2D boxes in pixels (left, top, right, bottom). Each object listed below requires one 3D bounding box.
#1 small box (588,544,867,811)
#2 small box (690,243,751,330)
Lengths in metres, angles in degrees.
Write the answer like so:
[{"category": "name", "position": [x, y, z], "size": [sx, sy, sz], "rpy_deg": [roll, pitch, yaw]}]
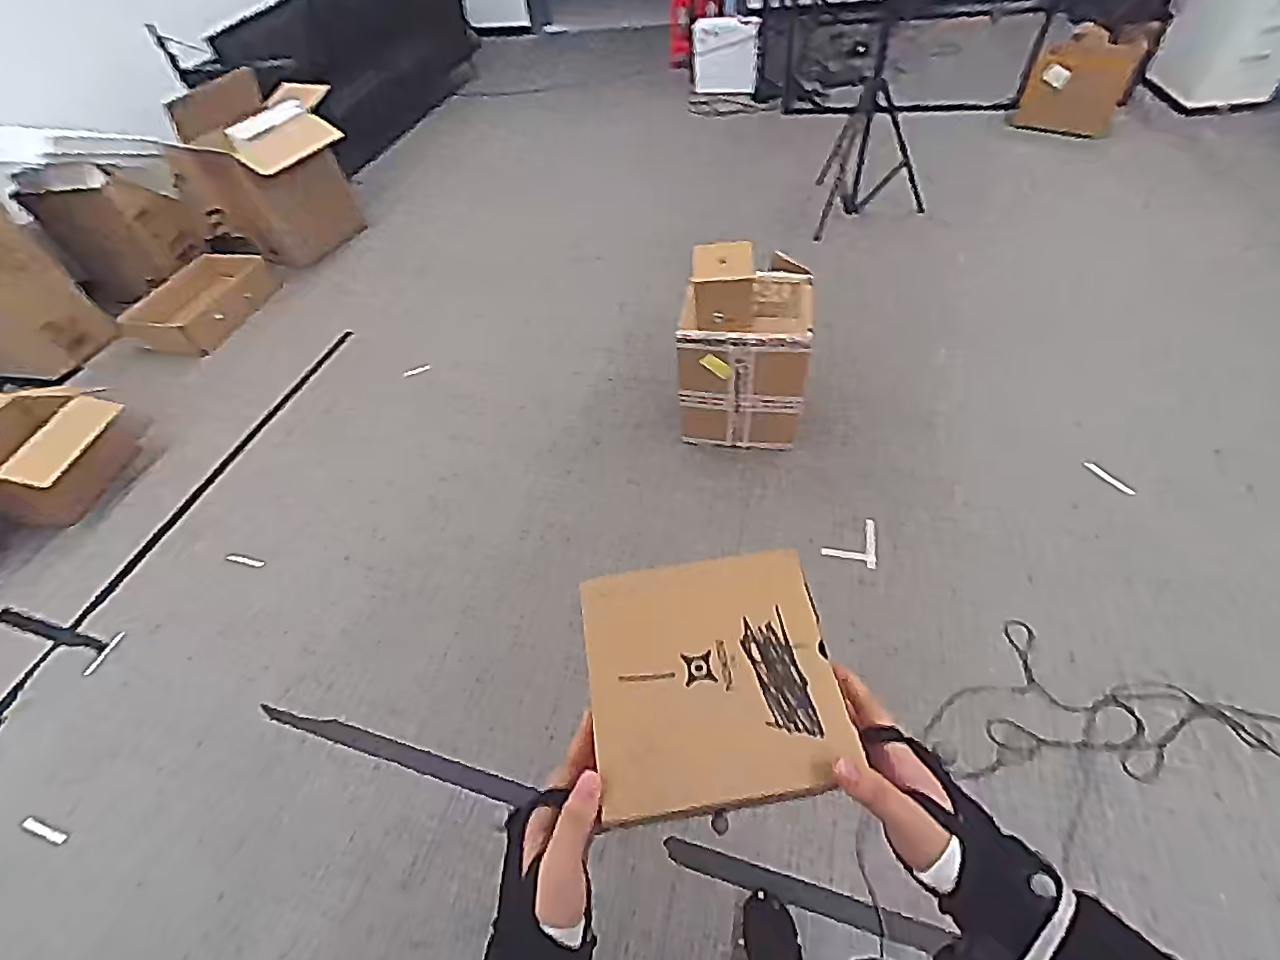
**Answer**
[{"category": "small box", "position": [0.055, 0.171, 0.454], "size": [0.179, 0.176, 0.168], "rpy_deg": [-7, 57, -2]}, {"category": "small box", "position": [0.234, -0.561, 1.575], "size": [0.168, 0.176, 0.179], "rpy_deg": [-2, 56, 9]}]
